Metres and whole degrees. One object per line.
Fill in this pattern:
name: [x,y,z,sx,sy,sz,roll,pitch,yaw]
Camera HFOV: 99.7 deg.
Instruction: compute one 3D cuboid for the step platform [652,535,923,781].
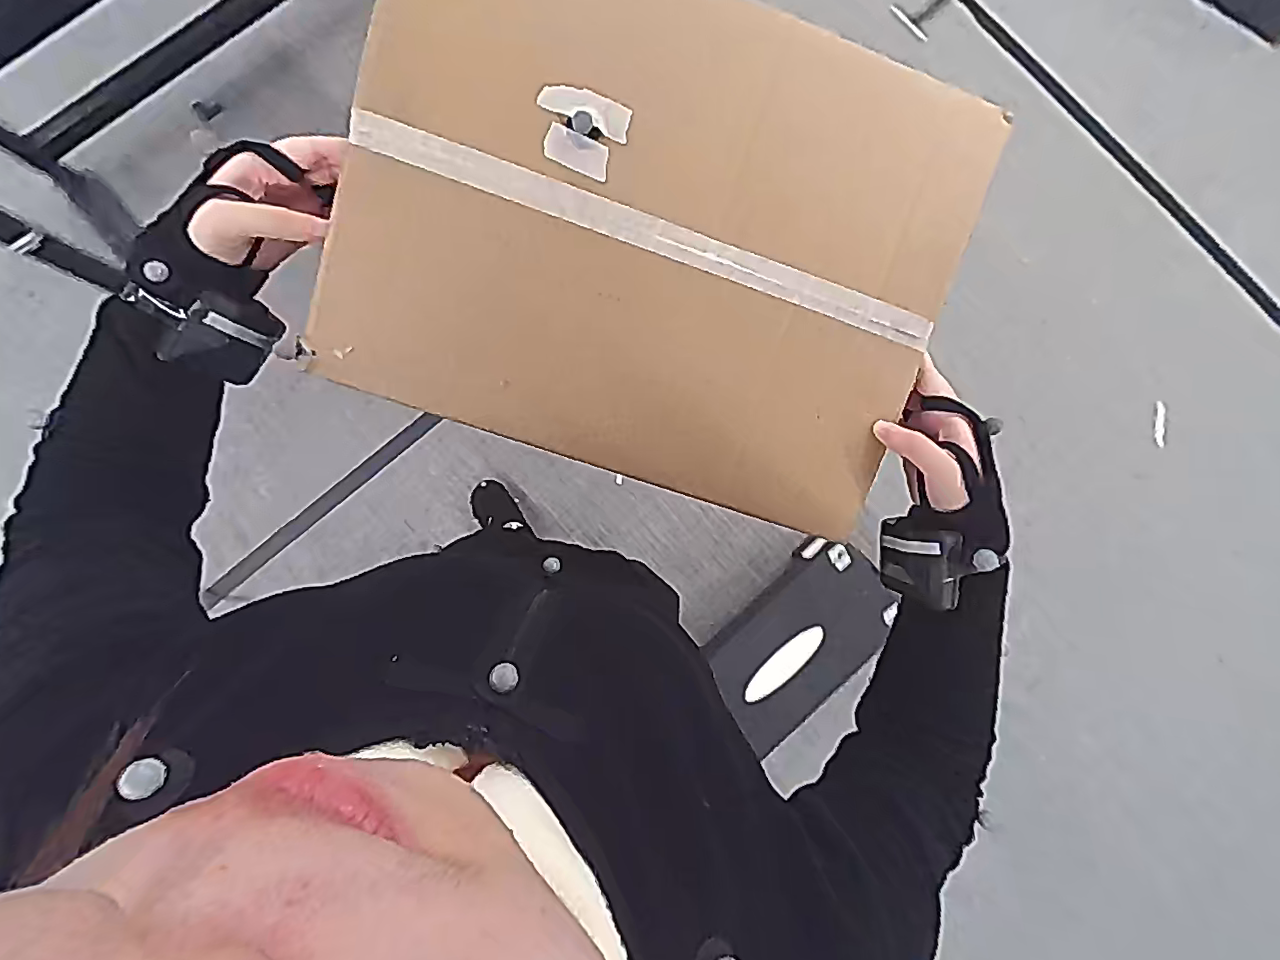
step platform: [0.368,0.437,1.388,0.684,0.204,0.286,-35,87,-5]
